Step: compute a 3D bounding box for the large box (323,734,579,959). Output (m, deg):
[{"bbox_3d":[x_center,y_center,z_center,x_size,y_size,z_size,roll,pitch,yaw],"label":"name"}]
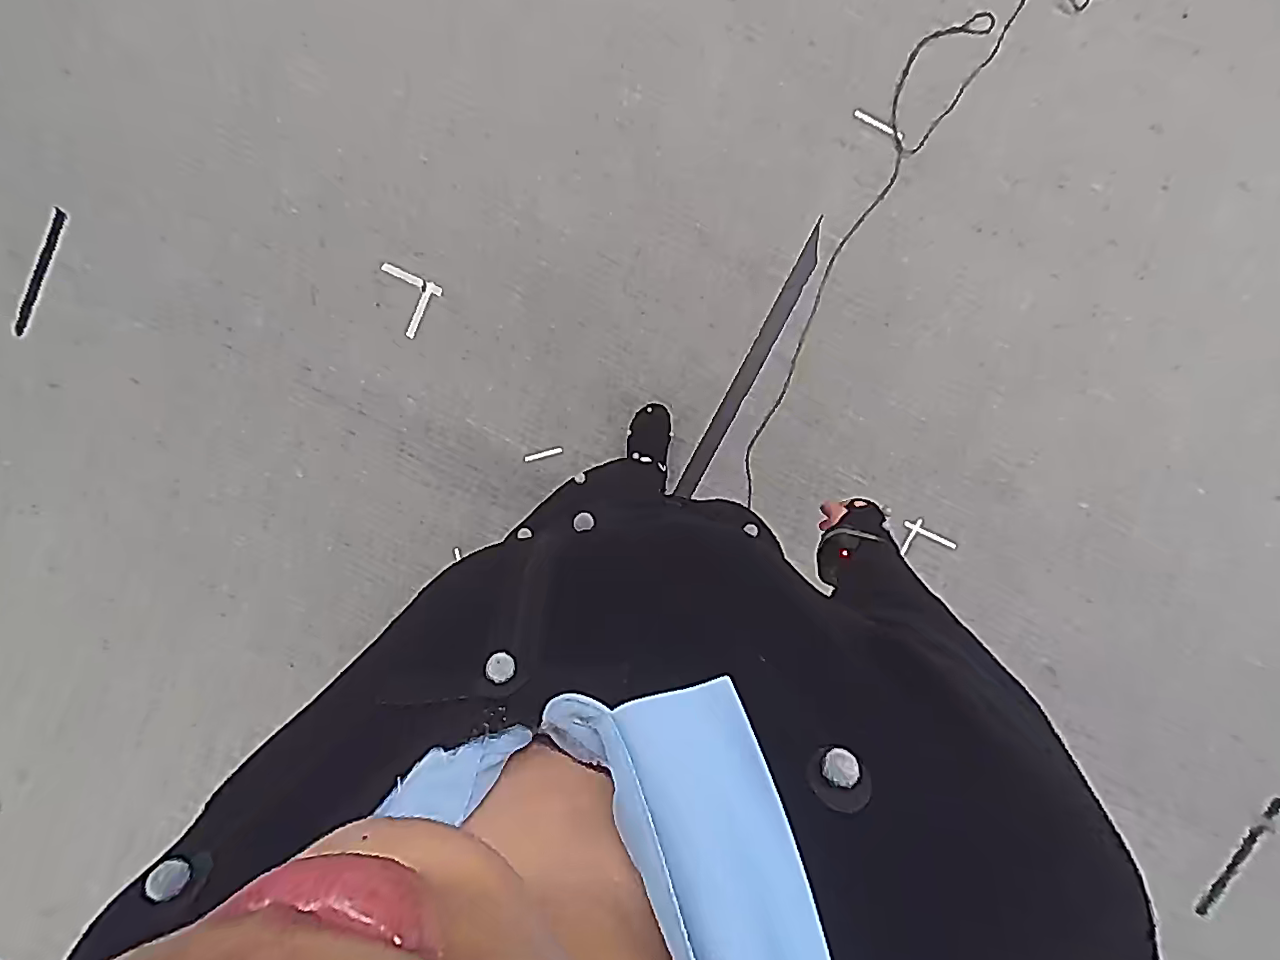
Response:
[{"bbox_3d":[-0.397,0.869,1.233,0.408,0.320,0.320,29,94,-2],"label":"large box"}]
